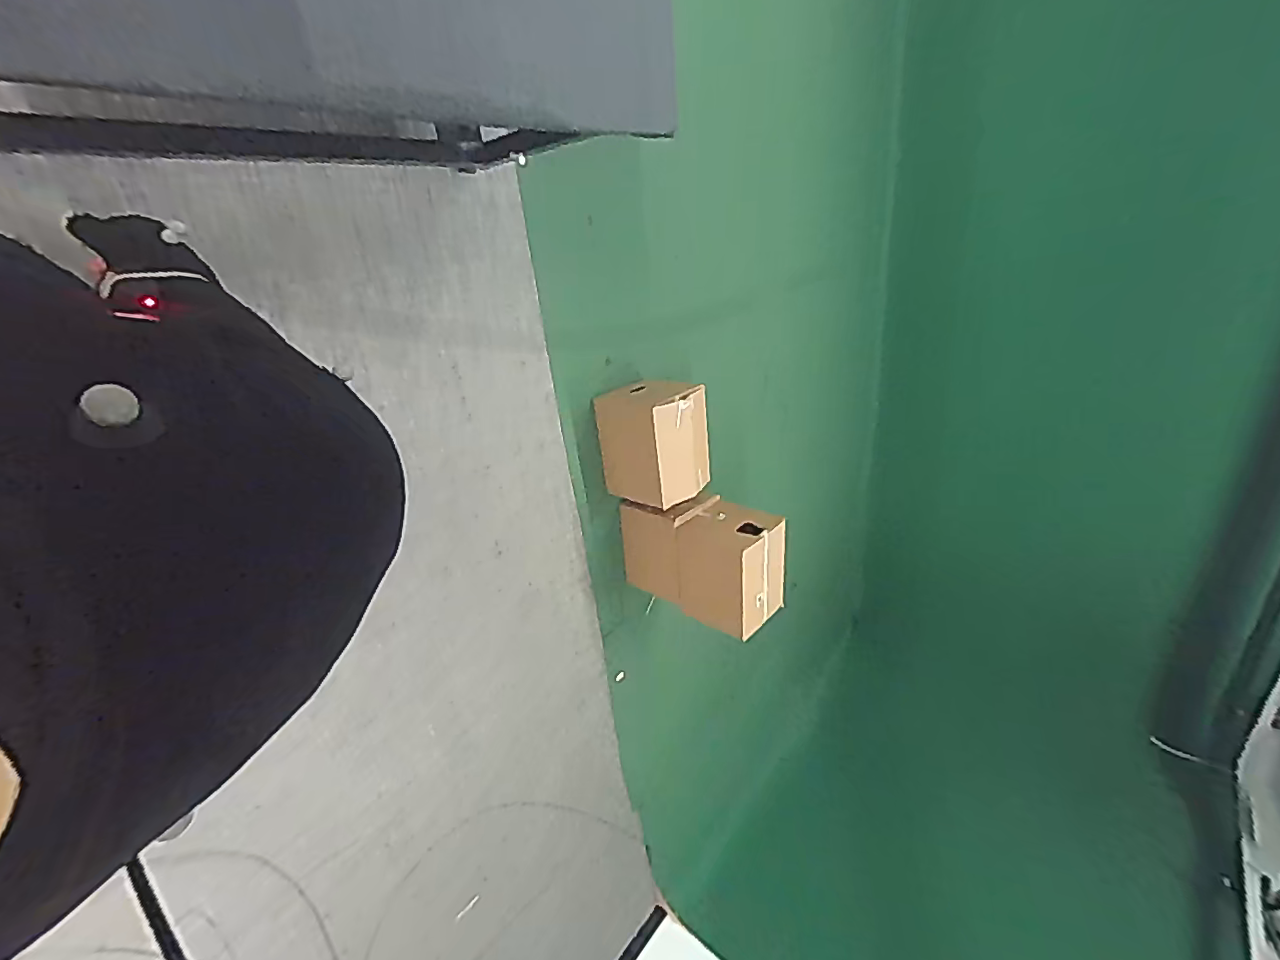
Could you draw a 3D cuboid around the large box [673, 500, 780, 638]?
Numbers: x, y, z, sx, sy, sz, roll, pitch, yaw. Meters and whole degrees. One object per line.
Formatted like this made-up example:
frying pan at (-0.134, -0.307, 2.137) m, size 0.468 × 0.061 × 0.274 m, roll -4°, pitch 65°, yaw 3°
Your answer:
large box at (0.349, 0.344, 2.178) m, size 0.320 × 0.320 × 0.408 m, roll -26°, pitch 122°, yaw -41°
